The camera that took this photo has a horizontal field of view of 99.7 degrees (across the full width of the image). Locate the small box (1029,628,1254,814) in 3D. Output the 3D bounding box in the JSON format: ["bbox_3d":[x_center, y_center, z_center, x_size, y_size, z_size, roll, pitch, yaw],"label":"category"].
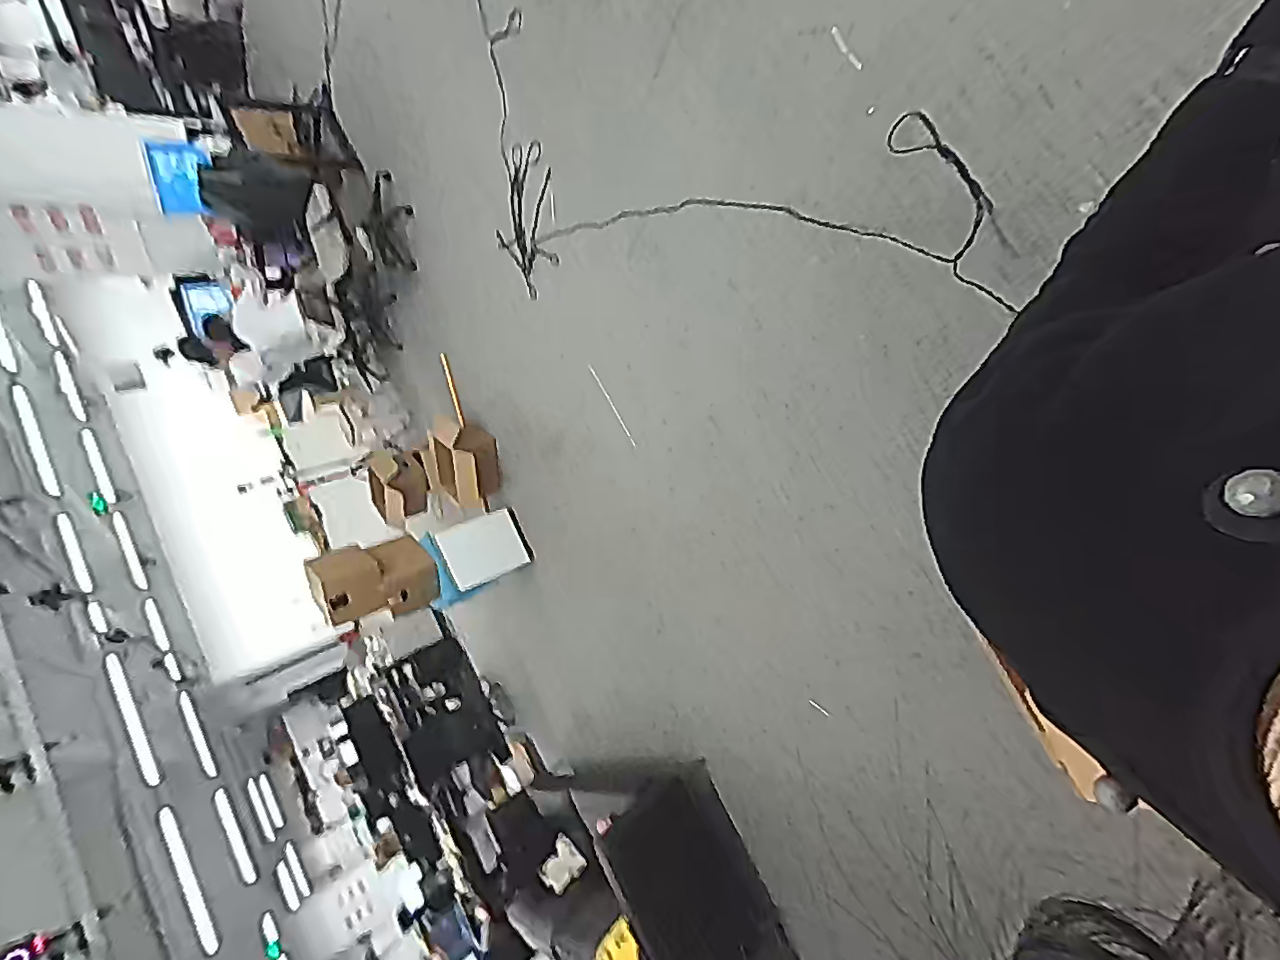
[{"bbox_3d":[0.701,0.324,0.759,0.179,0.176,0.168,-31,83,52],"label":"small box"}]
